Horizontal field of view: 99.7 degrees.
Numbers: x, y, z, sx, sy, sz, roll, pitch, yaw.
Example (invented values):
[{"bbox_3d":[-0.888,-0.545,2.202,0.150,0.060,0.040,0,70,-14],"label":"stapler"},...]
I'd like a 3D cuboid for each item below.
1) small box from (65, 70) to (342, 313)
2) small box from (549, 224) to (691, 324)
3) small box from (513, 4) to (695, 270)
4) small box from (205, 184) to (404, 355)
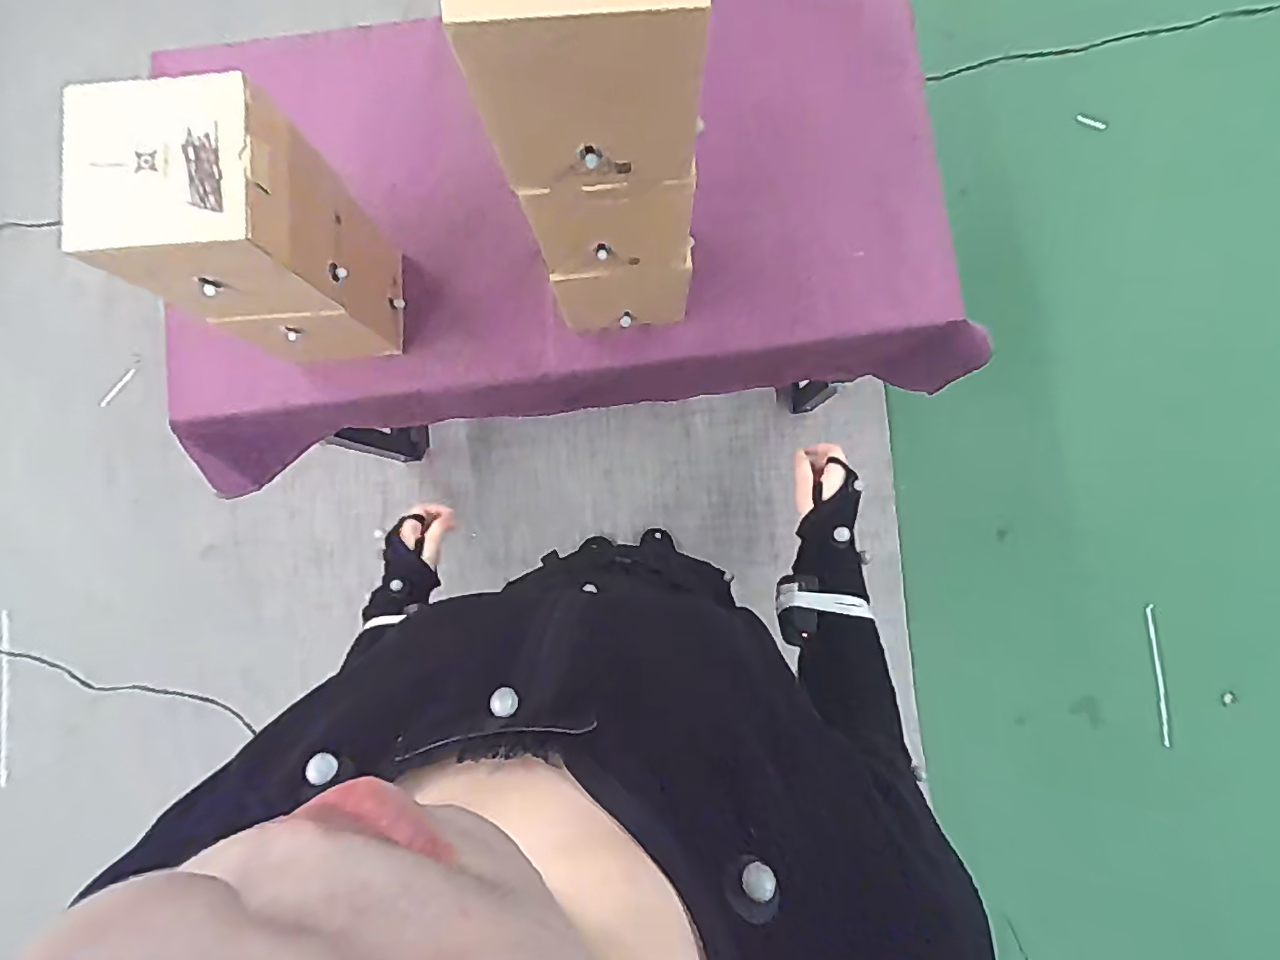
[{"bbox_3d":[-0.445,-0.292,0.581,0.179,0.176,0.168,-4,86,1],"label":"small box"},{"bbox_3d":[-0.030,-0.327,0.743,0.179,0.176,0.168,-4,85,0],"label":"small box"},{"bbox_3d":[-0.034,-0.351,0.582,0.168,0.176,0.179,-4,86,1],"label":"small box"},{"bbox_3d":[-0.448,-0.277,0.745,0.179,0.176,0.168,-3,86,0],"label":"small box"}]
